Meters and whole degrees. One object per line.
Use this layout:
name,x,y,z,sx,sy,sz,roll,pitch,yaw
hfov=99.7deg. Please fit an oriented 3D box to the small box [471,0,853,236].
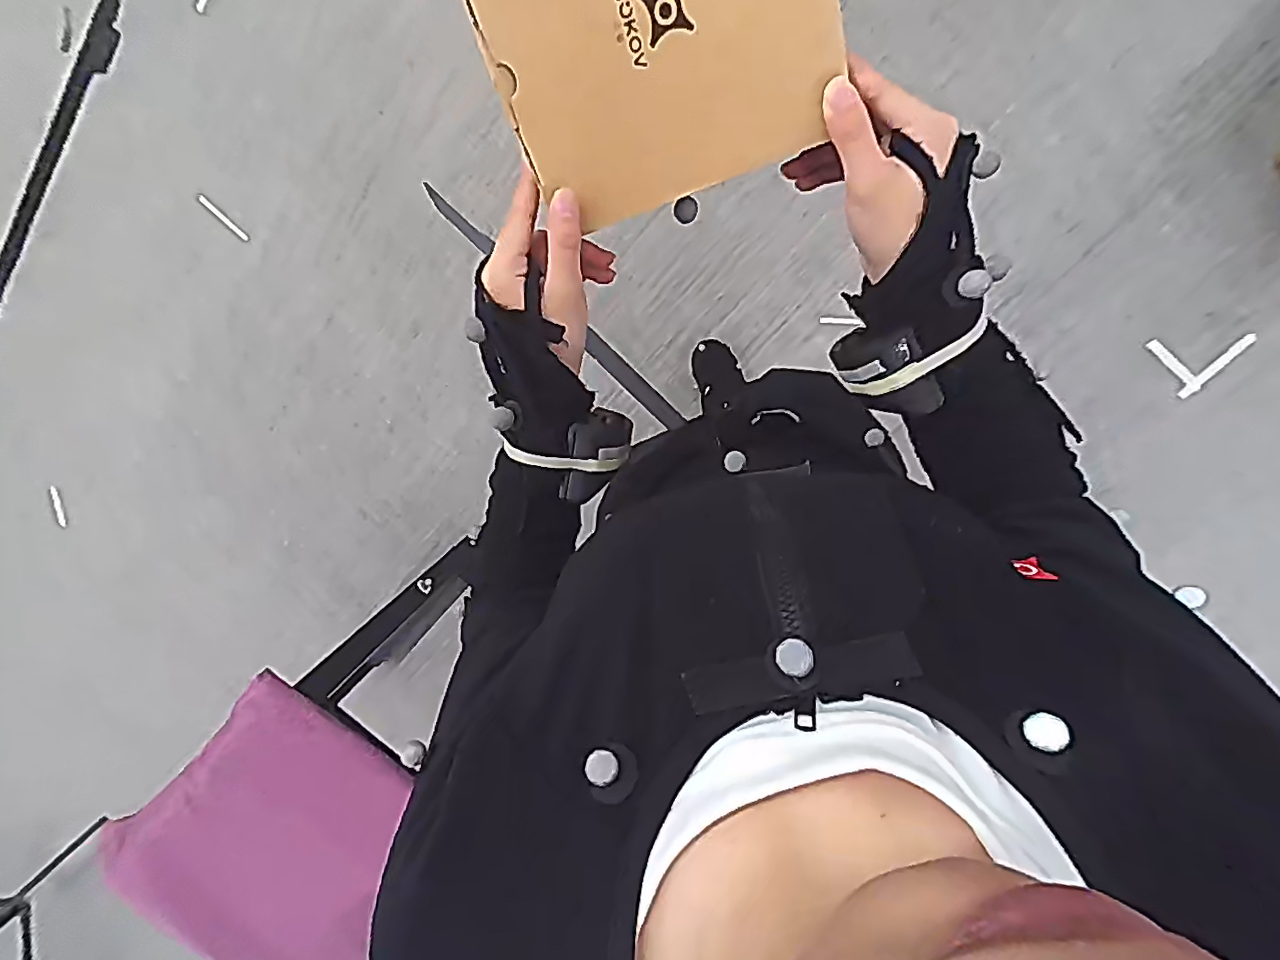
small box,0.007,-0.273,0.334,0.179,0.176,0.168,-17,119,9
